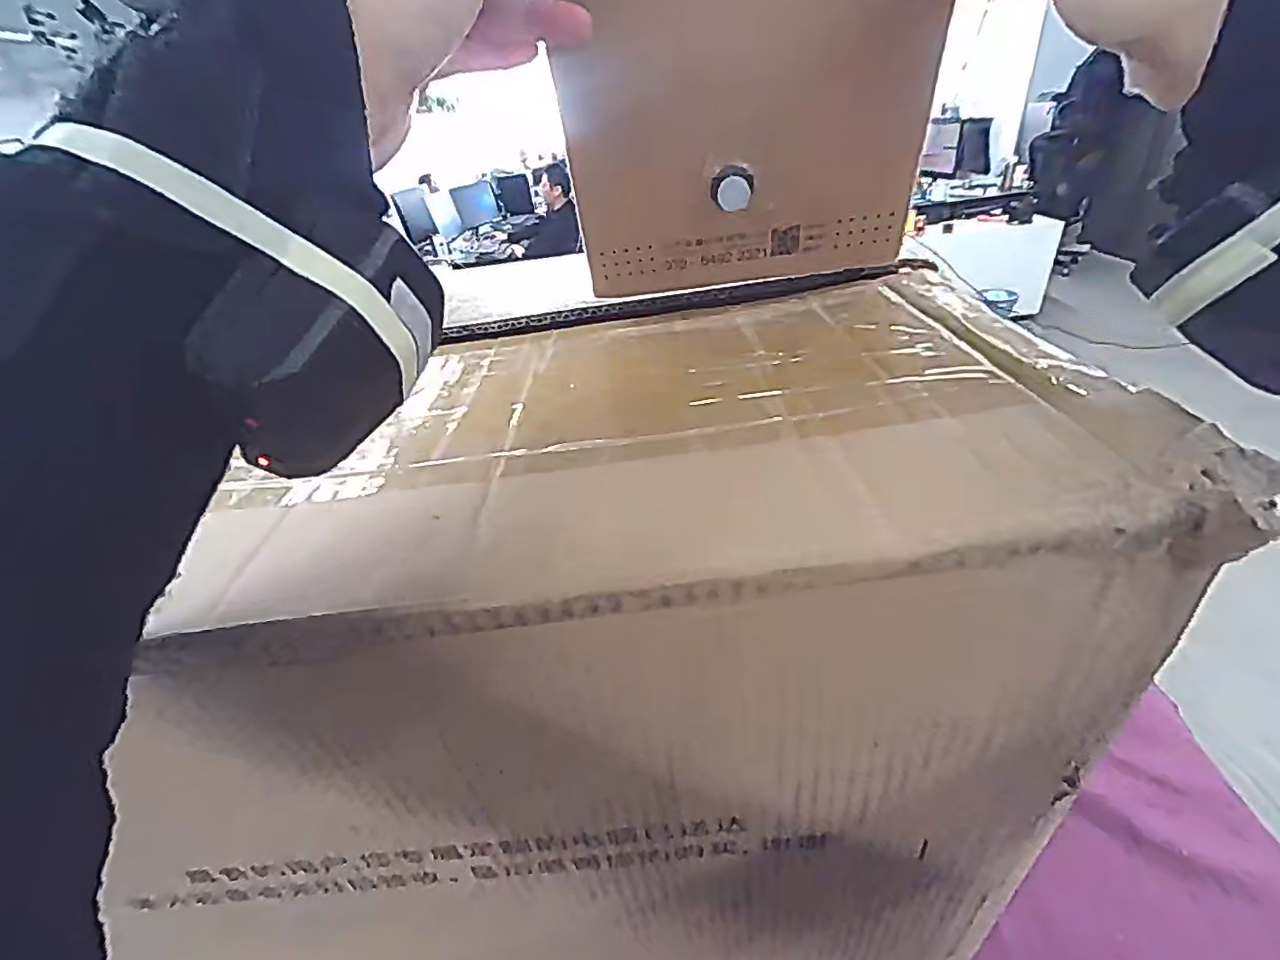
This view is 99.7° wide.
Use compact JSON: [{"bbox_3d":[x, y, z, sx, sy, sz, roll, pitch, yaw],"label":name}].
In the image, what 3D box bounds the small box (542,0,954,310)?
[{"bbox_3d":[0.046,-0.218,0.299,0.168,0.176,0.179,-6,48,5],"label":"small box"}]
